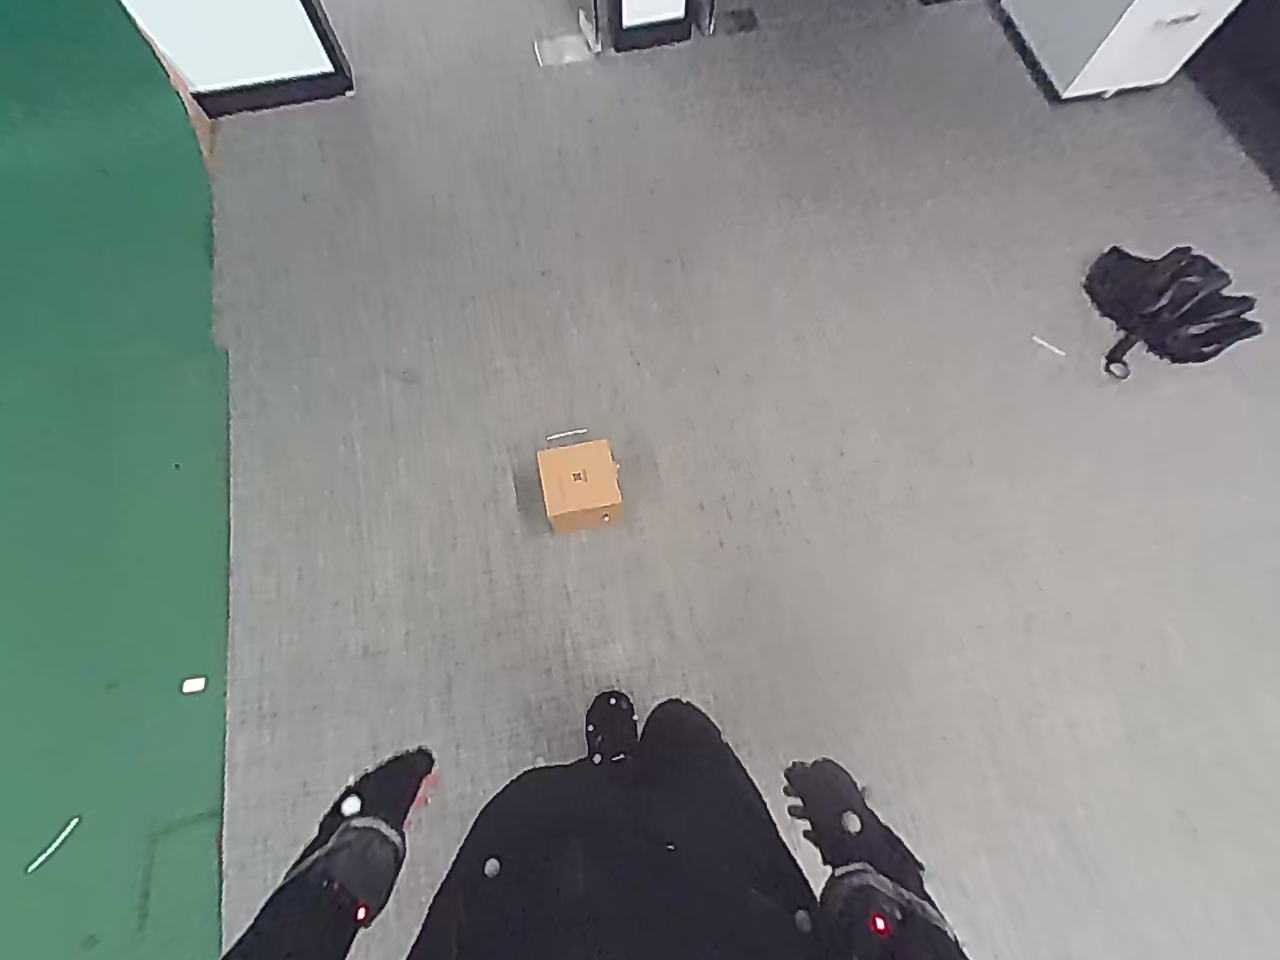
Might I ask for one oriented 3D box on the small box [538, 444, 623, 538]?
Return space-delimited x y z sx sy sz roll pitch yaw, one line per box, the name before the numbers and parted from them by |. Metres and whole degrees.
small box | -0.141 0.032 1.336 0.179 0.176 0.168 -13 71 -4
